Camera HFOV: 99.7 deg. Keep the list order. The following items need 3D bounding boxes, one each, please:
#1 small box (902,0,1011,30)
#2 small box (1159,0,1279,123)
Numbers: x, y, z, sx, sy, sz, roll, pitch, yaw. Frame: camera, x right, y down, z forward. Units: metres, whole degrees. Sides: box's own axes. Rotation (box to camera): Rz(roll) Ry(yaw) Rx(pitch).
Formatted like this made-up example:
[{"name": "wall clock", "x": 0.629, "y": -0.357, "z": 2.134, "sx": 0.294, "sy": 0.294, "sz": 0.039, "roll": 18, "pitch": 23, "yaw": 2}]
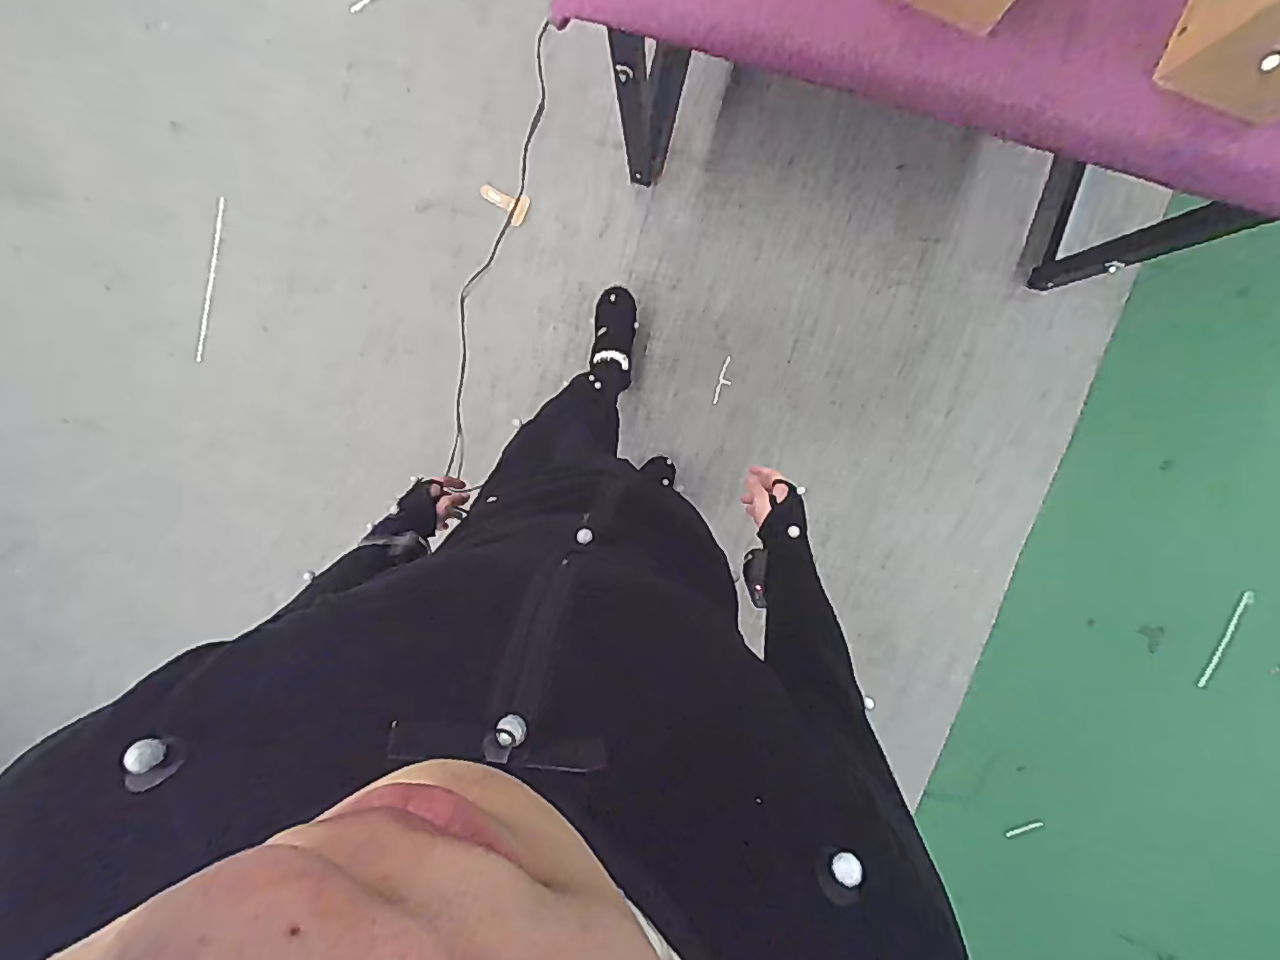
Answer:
[{"name": "small box", "x": 0.434, "y": -0.718, "z": 0.671, "sx": 0.179, "sy": 0.176, "sz": 0.168, "roll": 24, "pitch": 97, "yaw": 0}, {"name": "small box", "x": 0.823, "y": -0.588, "z": 0.671, "sx": 0.179, "sy": 0.176, "sz": 0.168, "roll": 21, "pitch": 97, "yaw": 0}]
